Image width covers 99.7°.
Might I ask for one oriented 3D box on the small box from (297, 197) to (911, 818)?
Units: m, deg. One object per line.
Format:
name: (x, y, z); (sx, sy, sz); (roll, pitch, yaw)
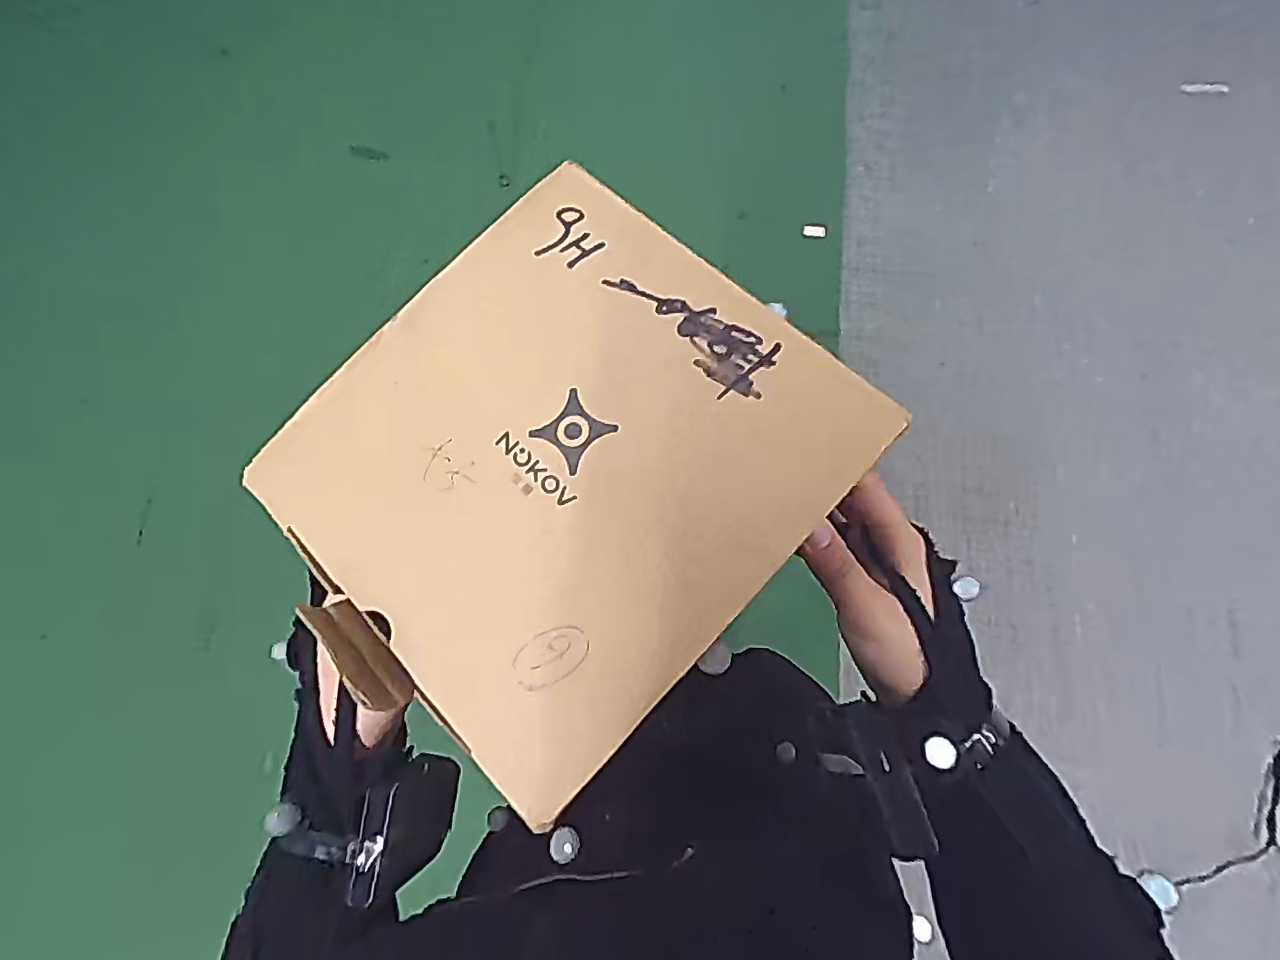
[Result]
small box: (-0.010, 0.014, 0.276); (0.168, 0.176, 0.179); (43, 85, 13)
